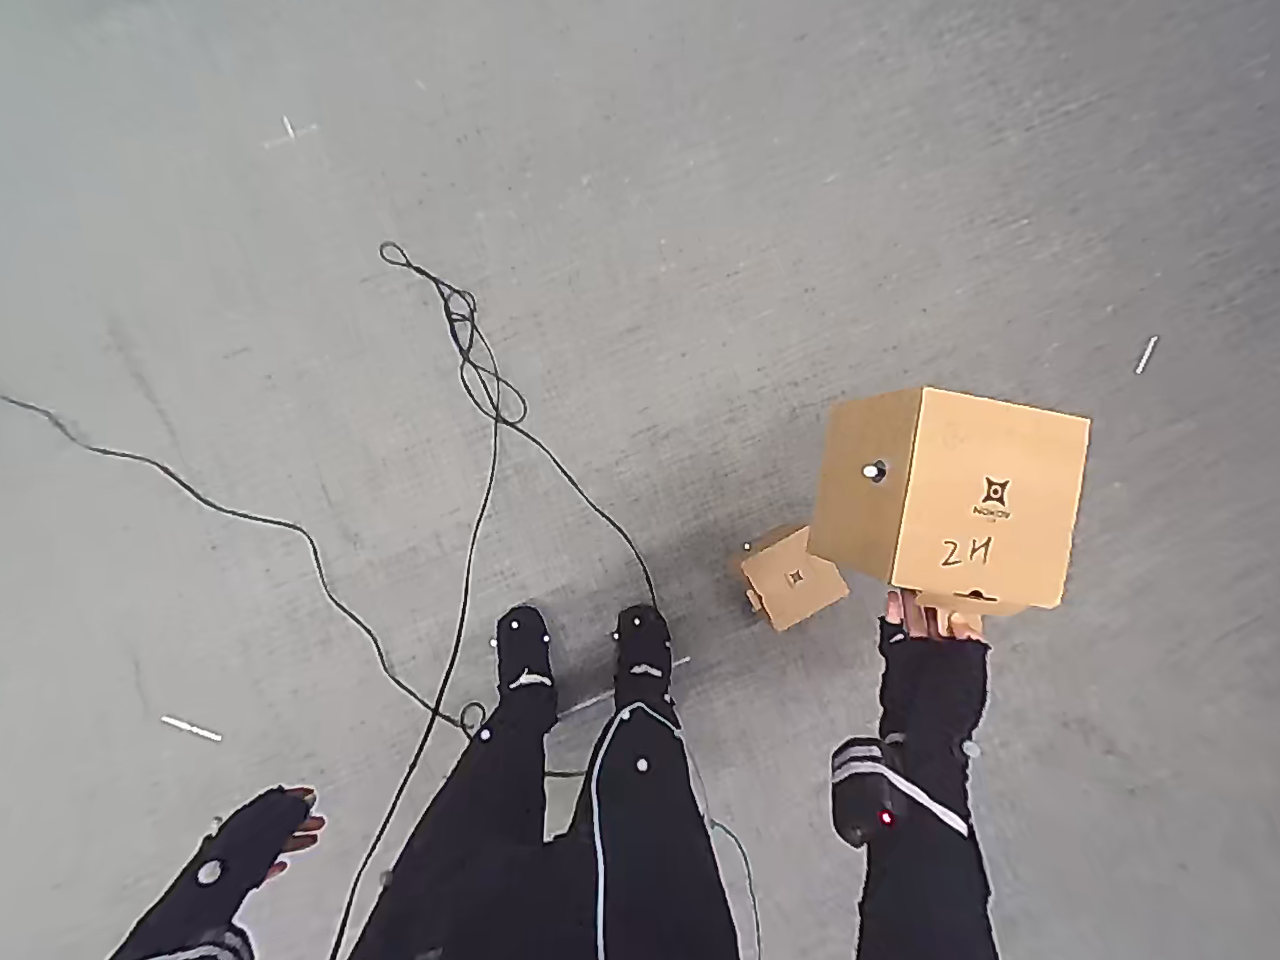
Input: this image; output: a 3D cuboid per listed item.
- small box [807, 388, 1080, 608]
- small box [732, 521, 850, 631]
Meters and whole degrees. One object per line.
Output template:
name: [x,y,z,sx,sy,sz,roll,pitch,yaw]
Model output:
small box: [0.293,0.014,0.558,0.168,0.176,0.179,10,93,-9]
small box: [0.314,0.200,1.174,0.179,0.176,0.168,-28,89,-3]
